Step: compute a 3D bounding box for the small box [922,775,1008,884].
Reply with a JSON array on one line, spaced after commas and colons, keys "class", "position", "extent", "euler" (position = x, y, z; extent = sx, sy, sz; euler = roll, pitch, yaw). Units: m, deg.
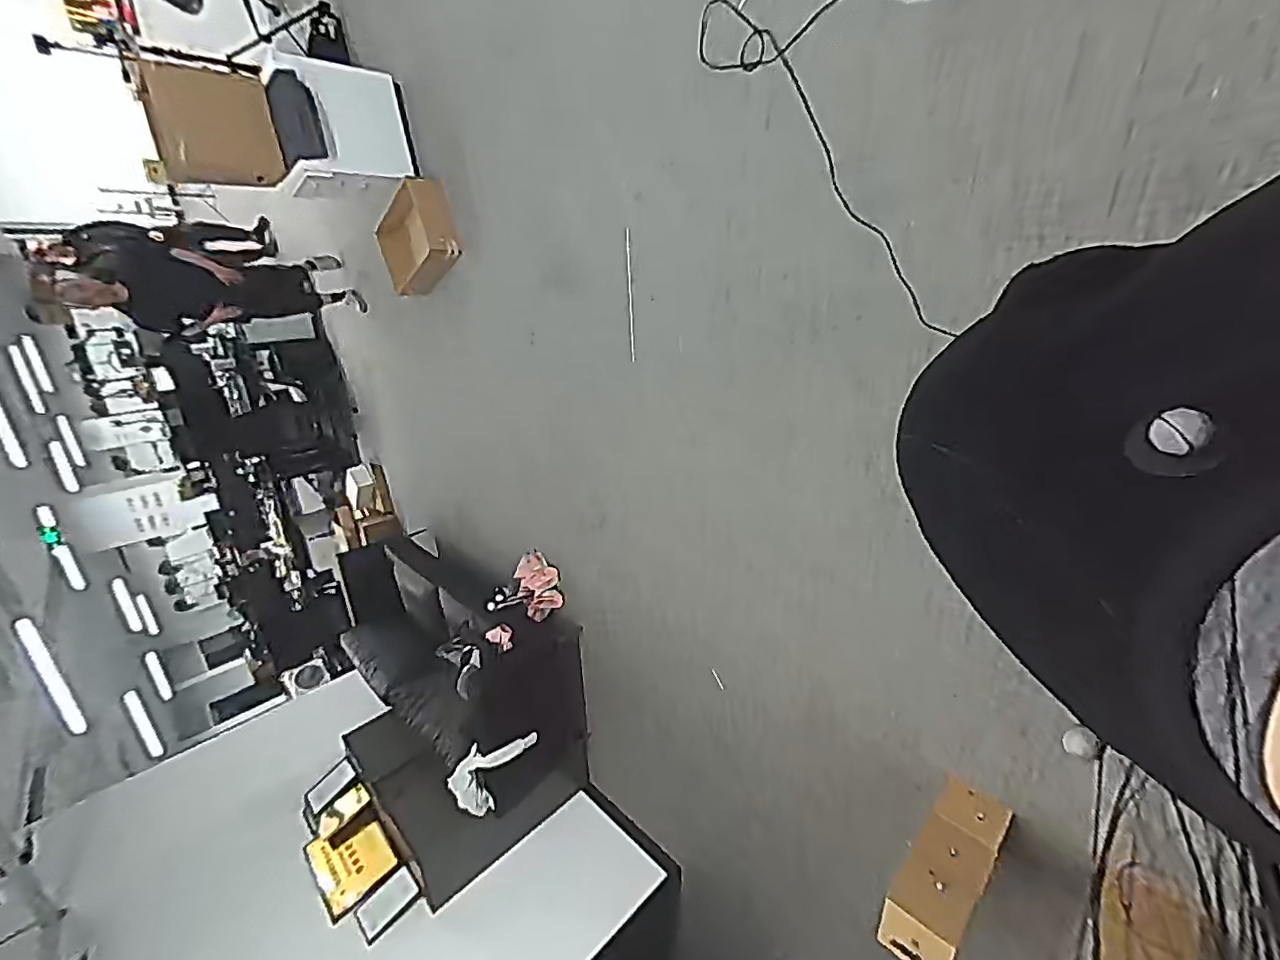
[{"class": "small box", "position": [0.970, 1.030, 1.610], "extent": [0.168, 0.176, 0.179], "euler": [19, 120, 42]}]

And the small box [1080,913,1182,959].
[{"class": "small box", "position": [1.126, 1.164, 1.242], "extent": [0.179, 0.176, 0.168], "euler": [12, 114, 44]}]

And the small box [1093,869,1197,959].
[{"class": "small box", "position": [1.247, 1.125, 1.346], "extent": [0.179, 0.176, 0.168], "euler": [12, 115, 43]}]

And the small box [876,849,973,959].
[{"class": "small box", "position": [0.736, 1.119, 1.396], "extent": [0.168, 0.176, 0.179], "euler": [19, 119, 41]}]
